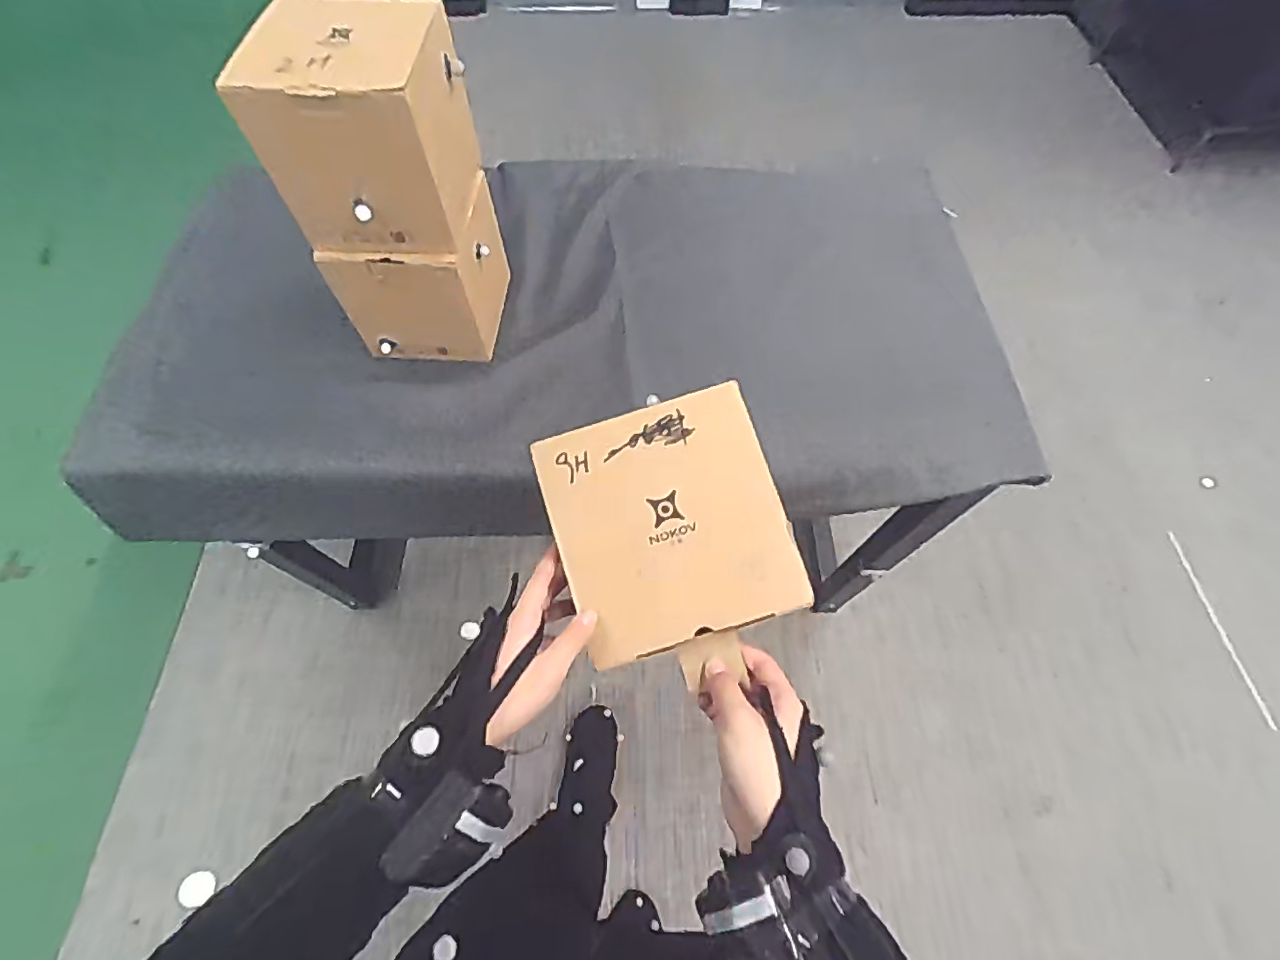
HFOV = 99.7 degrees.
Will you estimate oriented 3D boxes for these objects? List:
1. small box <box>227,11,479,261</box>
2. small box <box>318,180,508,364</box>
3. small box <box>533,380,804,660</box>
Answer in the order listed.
[{"bbox_3d":[-0.284,-0.367,0.587,0.168,0.176,0.179,1,61,0],"label":"small box"},{"bbox_3d":[-0.283,-0.274,0.724,0.168,0.176,0.179,3,61,0],"label":"small box"},{"bbox_3d":[0.022,0.038,0.481,0.168,0.176,0.179,-17,81,-1],"label":"small box"}]
